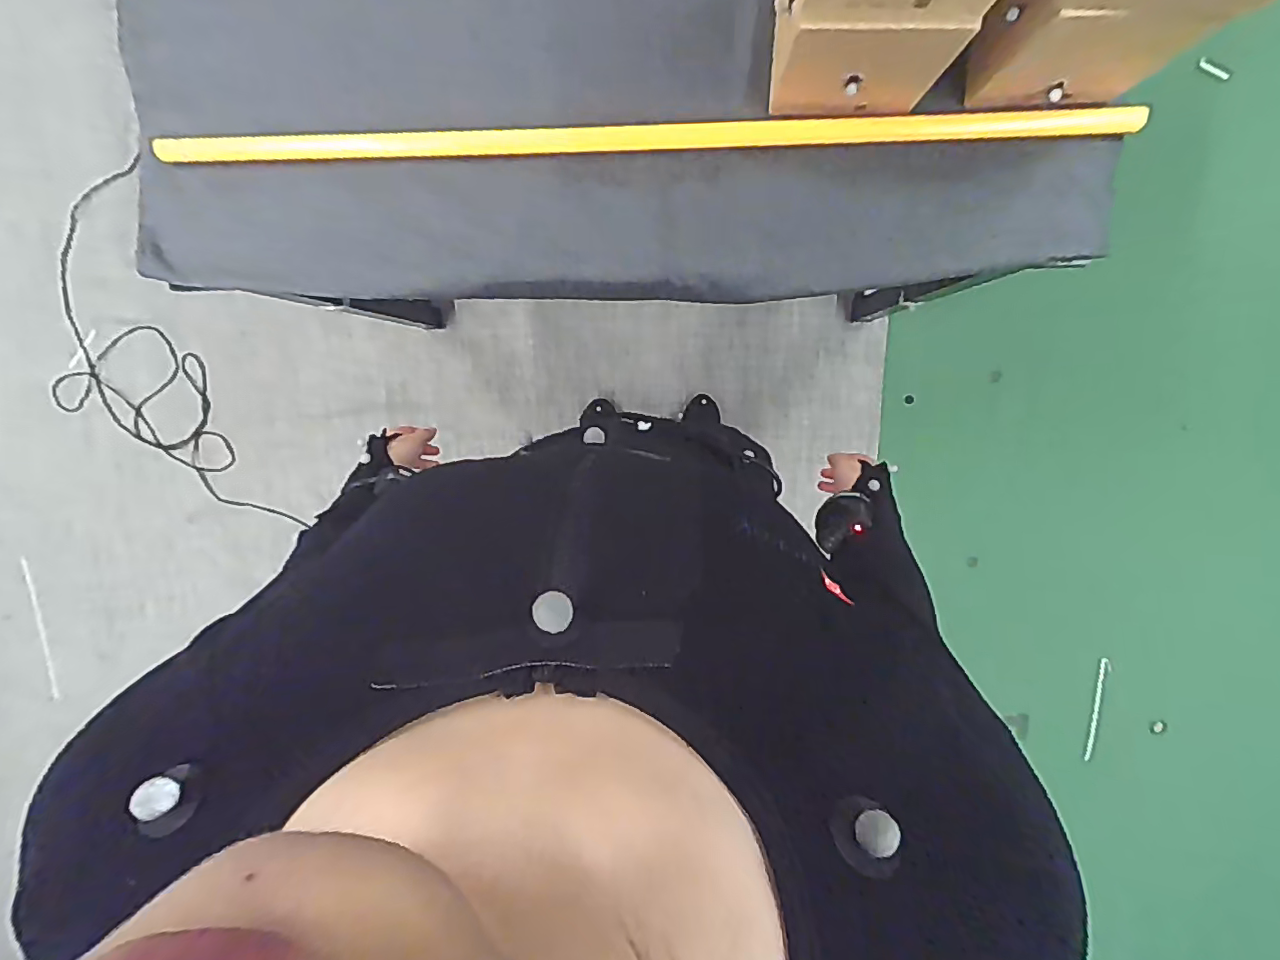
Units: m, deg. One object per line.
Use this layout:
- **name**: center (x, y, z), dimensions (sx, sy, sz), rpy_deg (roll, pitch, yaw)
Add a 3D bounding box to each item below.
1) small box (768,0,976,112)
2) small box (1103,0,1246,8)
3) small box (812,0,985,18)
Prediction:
- **small box**: center (0.231, -0.511, 0.557), dimensions (0.168, 0.176, 0.179), rpy_deg (3, 100, 3)
- **small box**: center (0.449, -0.480, 0.380), dimensions (0.179, 0.176, 0.168), rpy_deg (5, 101, 2)
- **small box**: center (0.220, -0.486, 0.397), dimensions (0.168, 0.176, 0.179), rpy_deg (3, 100, 4)
